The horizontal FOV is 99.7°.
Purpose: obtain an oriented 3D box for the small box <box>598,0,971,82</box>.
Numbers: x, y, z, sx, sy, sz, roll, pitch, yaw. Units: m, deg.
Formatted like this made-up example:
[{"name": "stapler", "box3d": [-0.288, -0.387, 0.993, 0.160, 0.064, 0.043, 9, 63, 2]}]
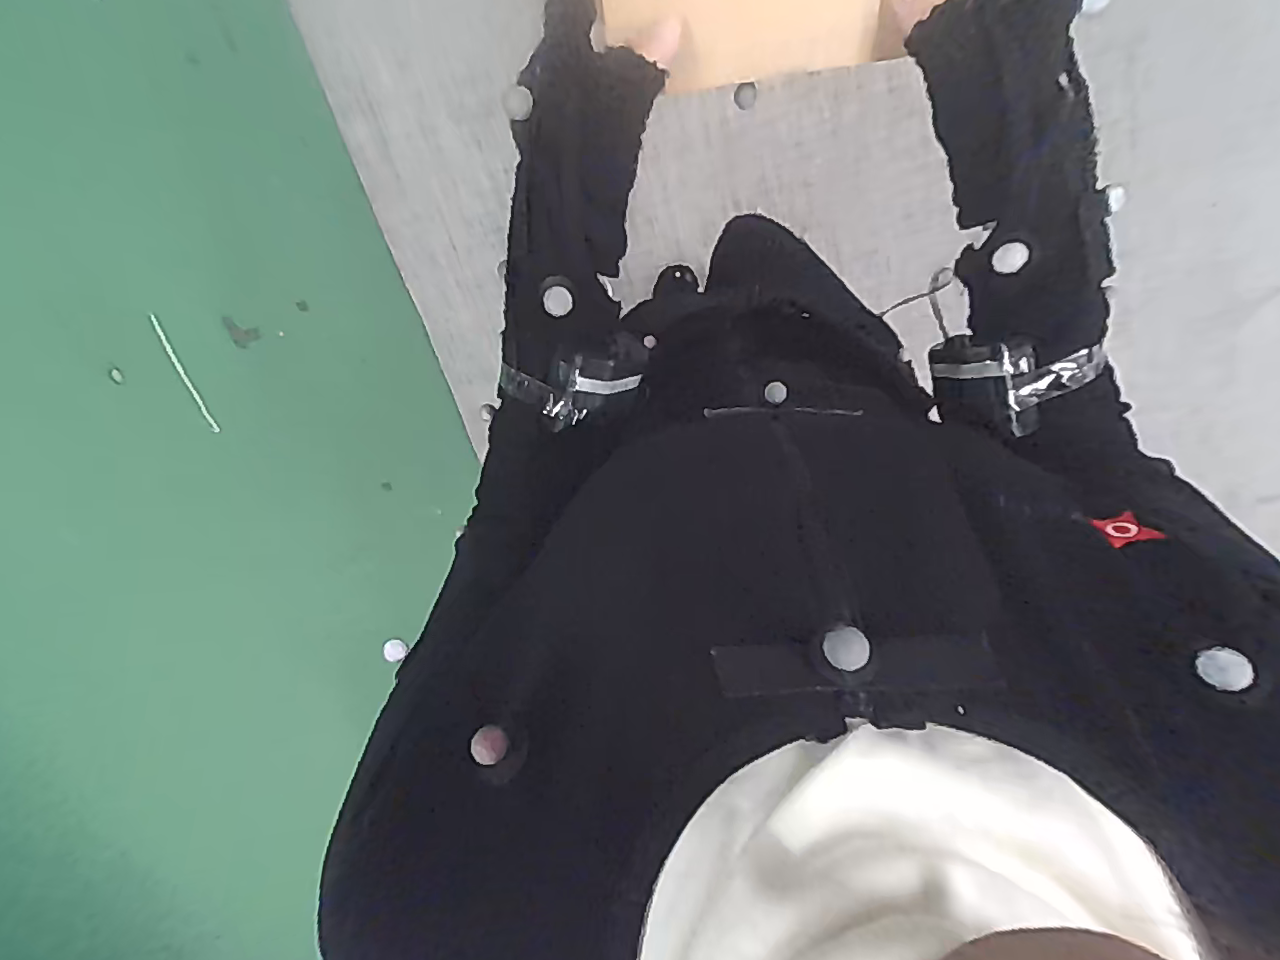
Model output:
[{"name": "small box", "box3d": [0.061, -0.320, 0.283, 0.179, 0.176, 0.168, -7, 127, 4]}]
